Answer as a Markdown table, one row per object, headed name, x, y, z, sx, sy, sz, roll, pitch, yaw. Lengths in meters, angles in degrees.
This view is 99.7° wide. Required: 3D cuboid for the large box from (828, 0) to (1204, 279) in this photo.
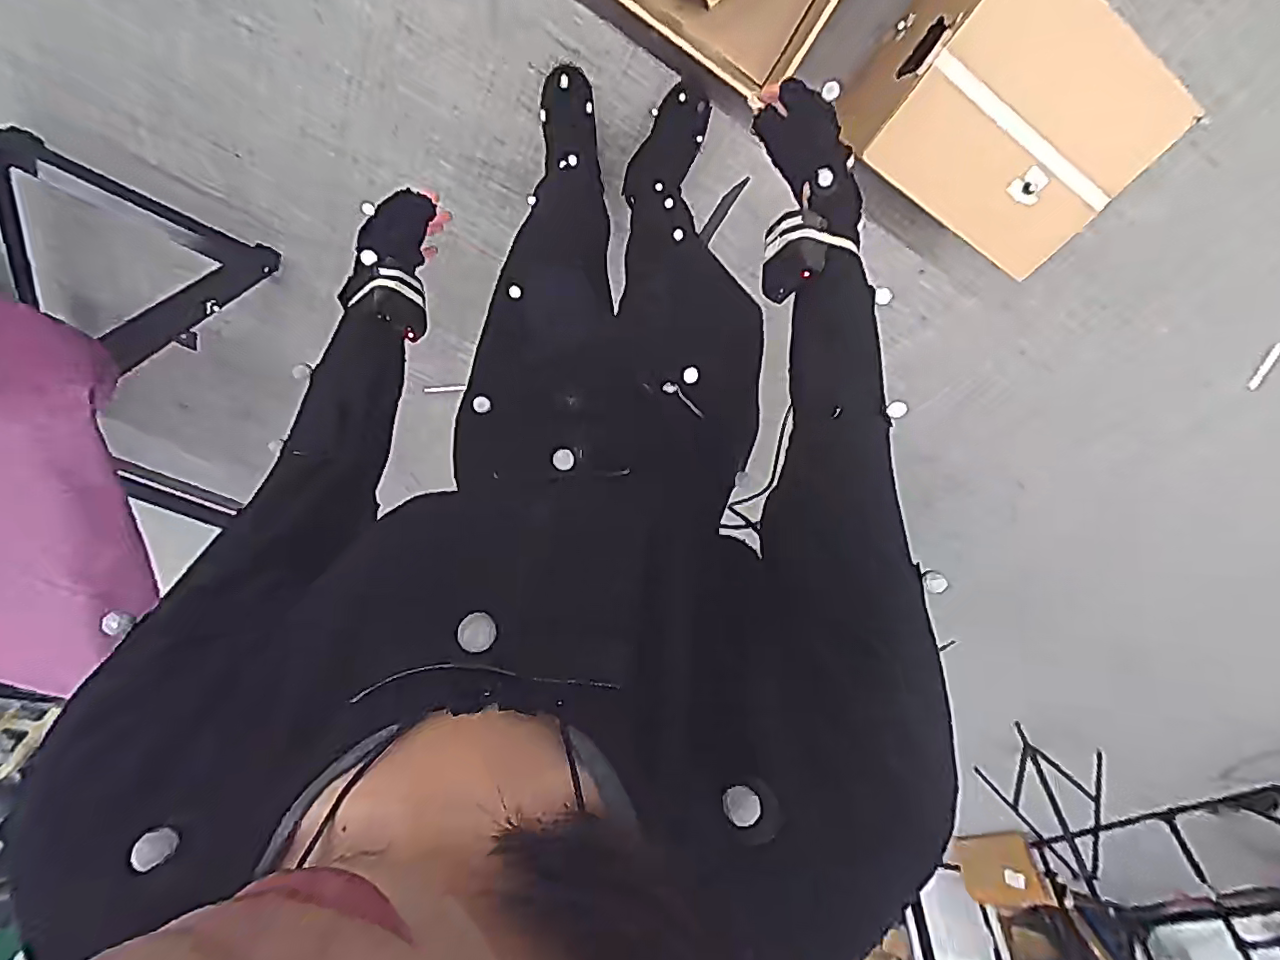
| name | x | y | z | sx | sy | sz | roll | pitch | yaw |
| --- | --- | --- | --- | --- | --- | --- | --- | --- | --- |
| large box | 0.615 | -0.640 | 0.960 | 0.408 | 0.320 | 0.320 | 25 | 130 | -17 |
